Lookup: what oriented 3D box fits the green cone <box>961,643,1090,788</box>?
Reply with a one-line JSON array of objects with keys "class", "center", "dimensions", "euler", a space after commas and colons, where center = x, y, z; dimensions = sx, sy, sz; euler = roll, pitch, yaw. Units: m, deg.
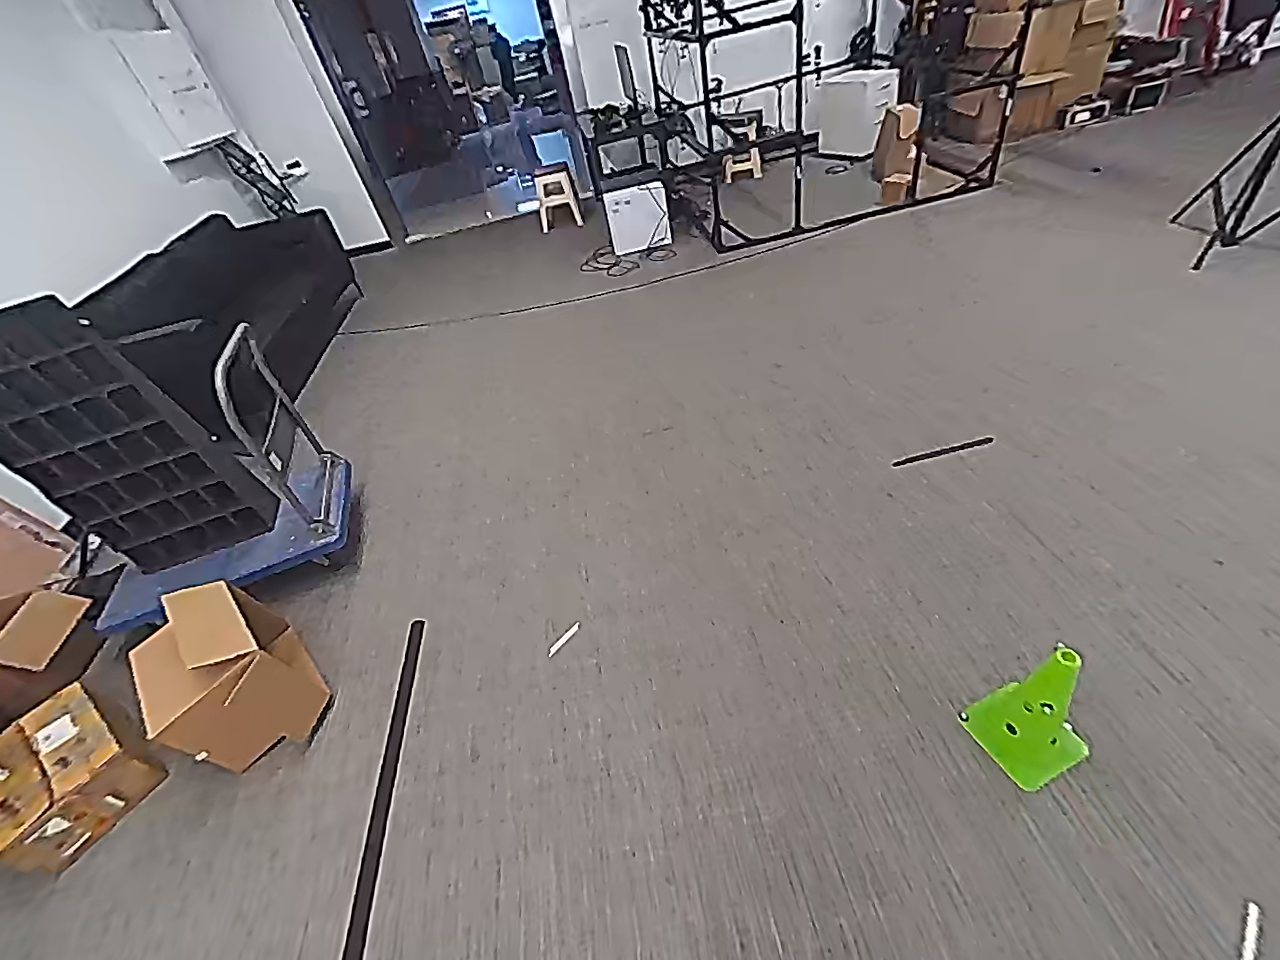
[{"class": "green cone", "center": [0.883, 0.473, 1.173], "dimensions": [0.202, 0.368, 0.200], "euler": [-23, 42, -12]}]
